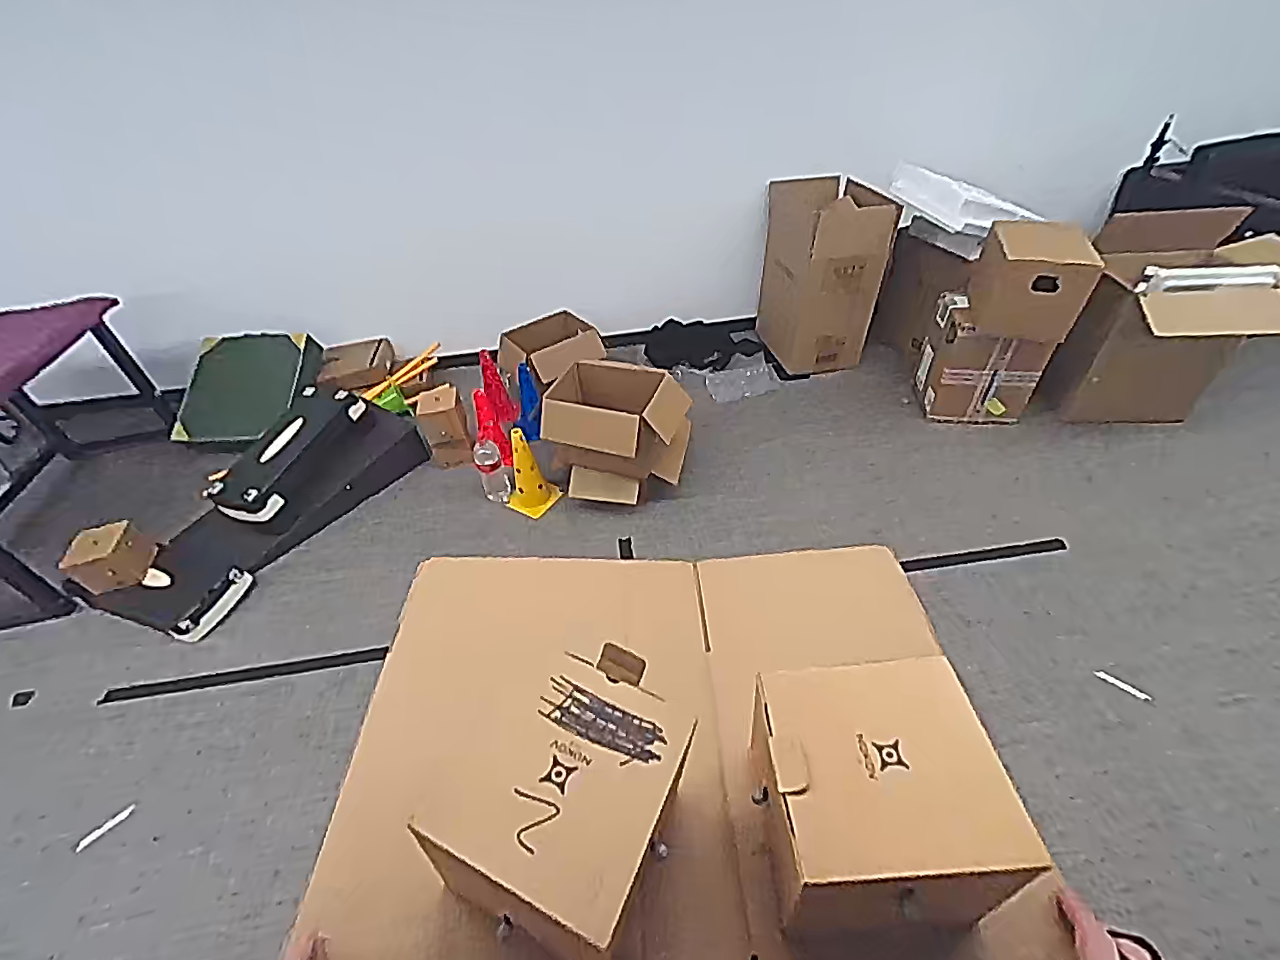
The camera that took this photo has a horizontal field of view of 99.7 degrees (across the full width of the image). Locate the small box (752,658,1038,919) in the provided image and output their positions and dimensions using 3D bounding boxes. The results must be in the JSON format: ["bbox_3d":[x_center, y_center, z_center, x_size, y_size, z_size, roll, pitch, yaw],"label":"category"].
[{"bbox_3d":[0.209,0.288,0.507,0.179,0.176,0.168,-5,41,2],"label":"small box"}]
